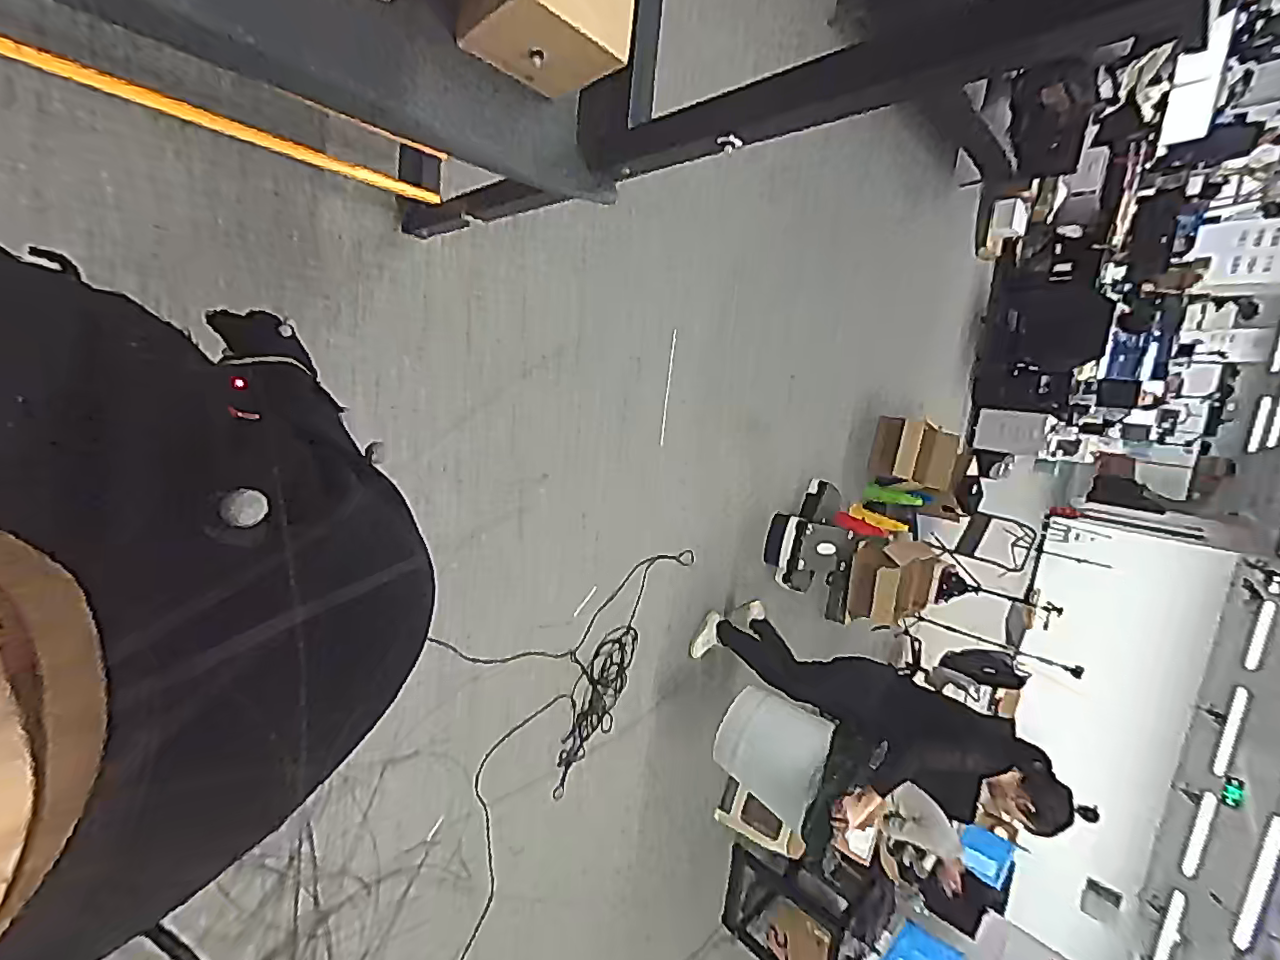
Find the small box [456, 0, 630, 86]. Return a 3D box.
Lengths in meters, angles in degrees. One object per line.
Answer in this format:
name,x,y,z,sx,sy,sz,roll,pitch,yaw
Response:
small box,-0.125,-0.662,0.707,0.168,0.176,0.179,-3,103,-46
